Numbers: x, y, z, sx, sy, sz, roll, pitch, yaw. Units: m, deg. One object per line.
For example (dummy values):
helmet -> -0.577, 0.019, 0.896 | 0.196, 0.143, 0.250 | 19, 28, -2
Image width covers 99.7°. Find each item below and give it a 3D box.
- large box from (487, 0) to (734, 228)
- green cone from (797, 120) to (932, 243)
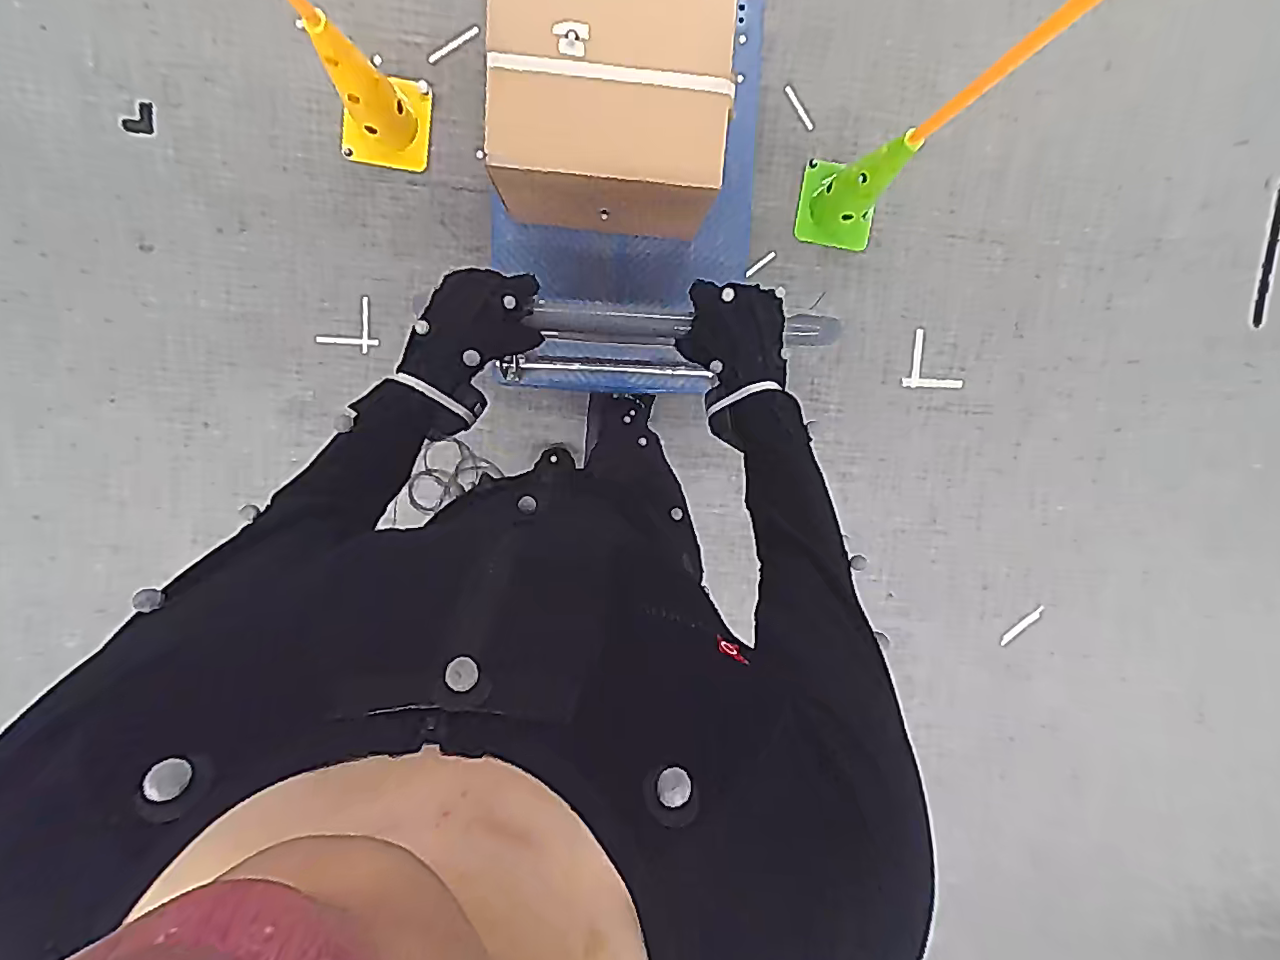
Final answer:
large box -> -0.056, -0.698, 1.038 | 0.408, 0.320, 0.320 | 4, 99, -4
green cone -> 0.529, -0.703, 1.227 | 0.202, 0.368, 0.200 | 8, 98, -7
